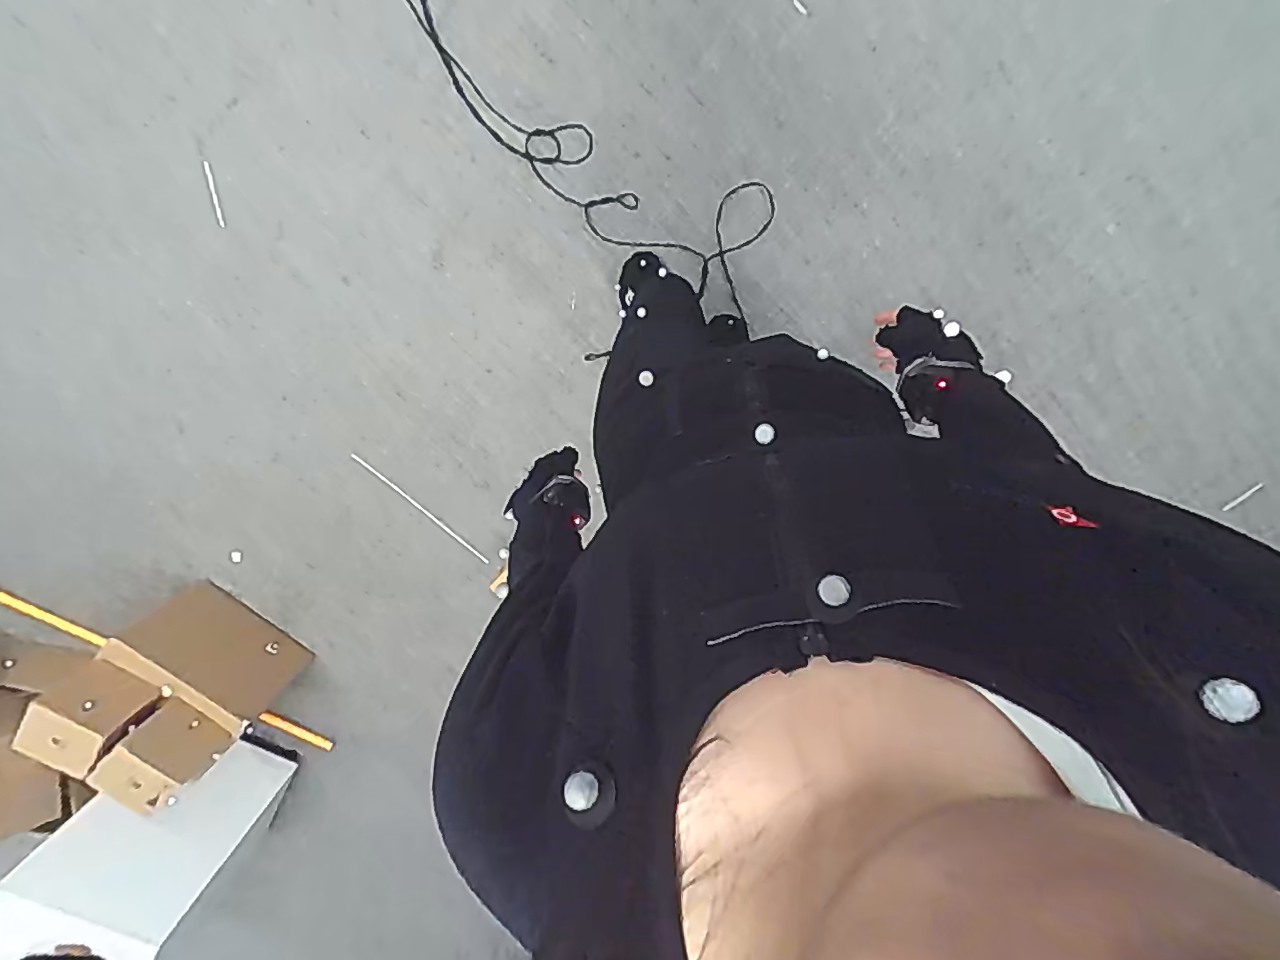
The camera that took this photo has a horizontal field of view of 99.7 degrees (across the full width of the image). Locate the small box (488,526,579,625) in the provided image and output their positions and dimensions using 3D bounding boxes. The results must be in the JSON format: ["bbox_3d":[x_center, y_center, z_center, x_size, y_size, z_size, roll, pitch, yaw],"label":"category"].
[{"bbox_3d":[-0.289,0.262,1.515,0.168,0.176,0.179,41,105,-12],"label":"small box"}]
